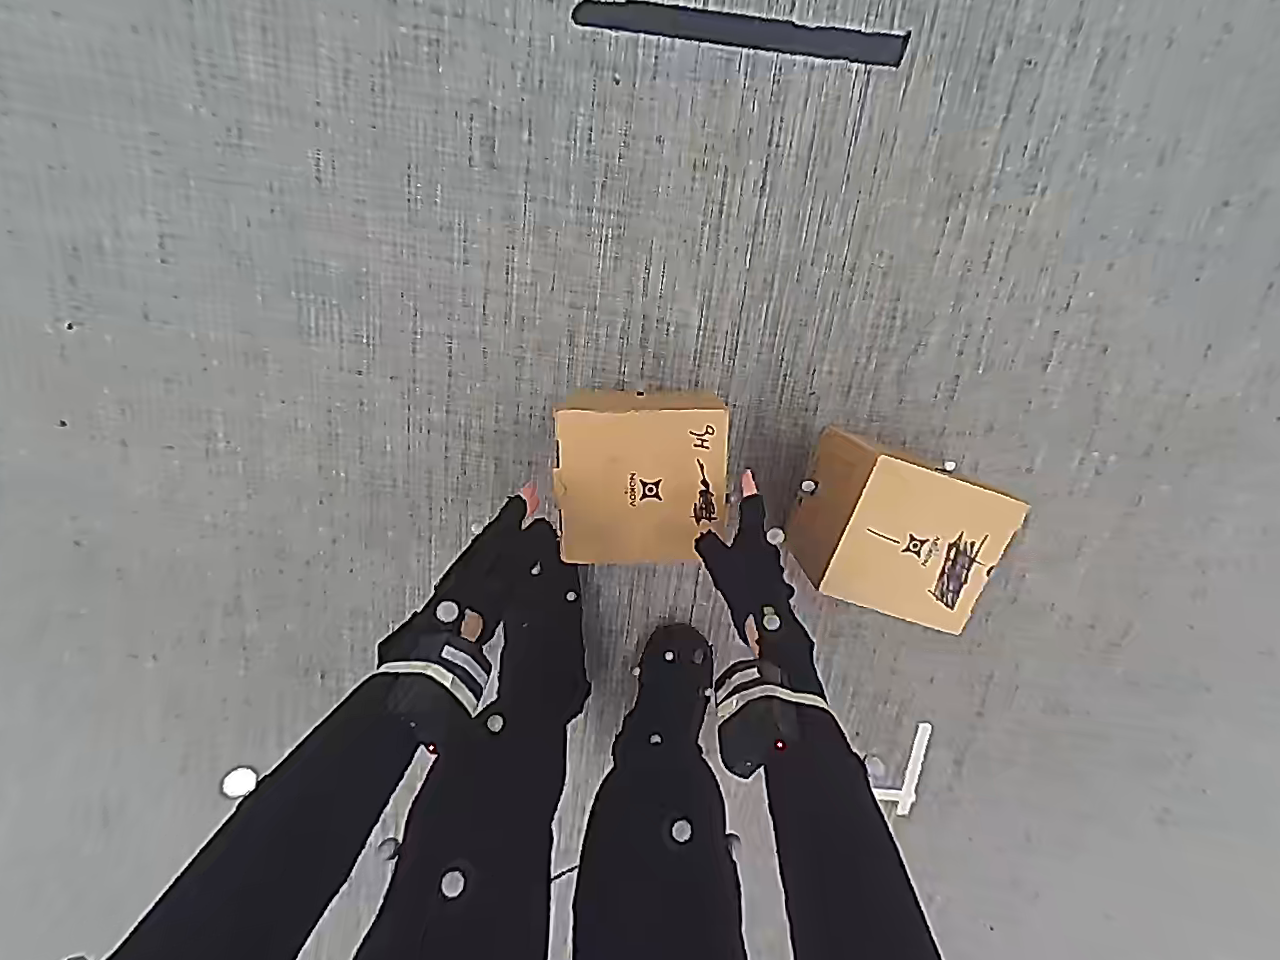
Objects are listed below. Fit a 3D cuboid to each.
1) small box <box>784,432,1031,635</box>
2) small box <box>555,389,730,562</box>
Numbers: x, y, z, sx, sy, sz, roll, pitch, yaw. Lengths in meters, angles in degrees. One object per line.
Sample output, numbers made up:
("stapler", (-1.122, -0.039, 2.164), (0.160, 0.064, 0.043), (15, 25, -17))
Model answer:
("small box", (0.299, 0.052, 0.649), (0.179, 0.176, 0.168), (18, 104, -4))
("small box", (0.003, -0.014, 0.630), (0.179, 0.176, 0.168), (0, 105, 1))
